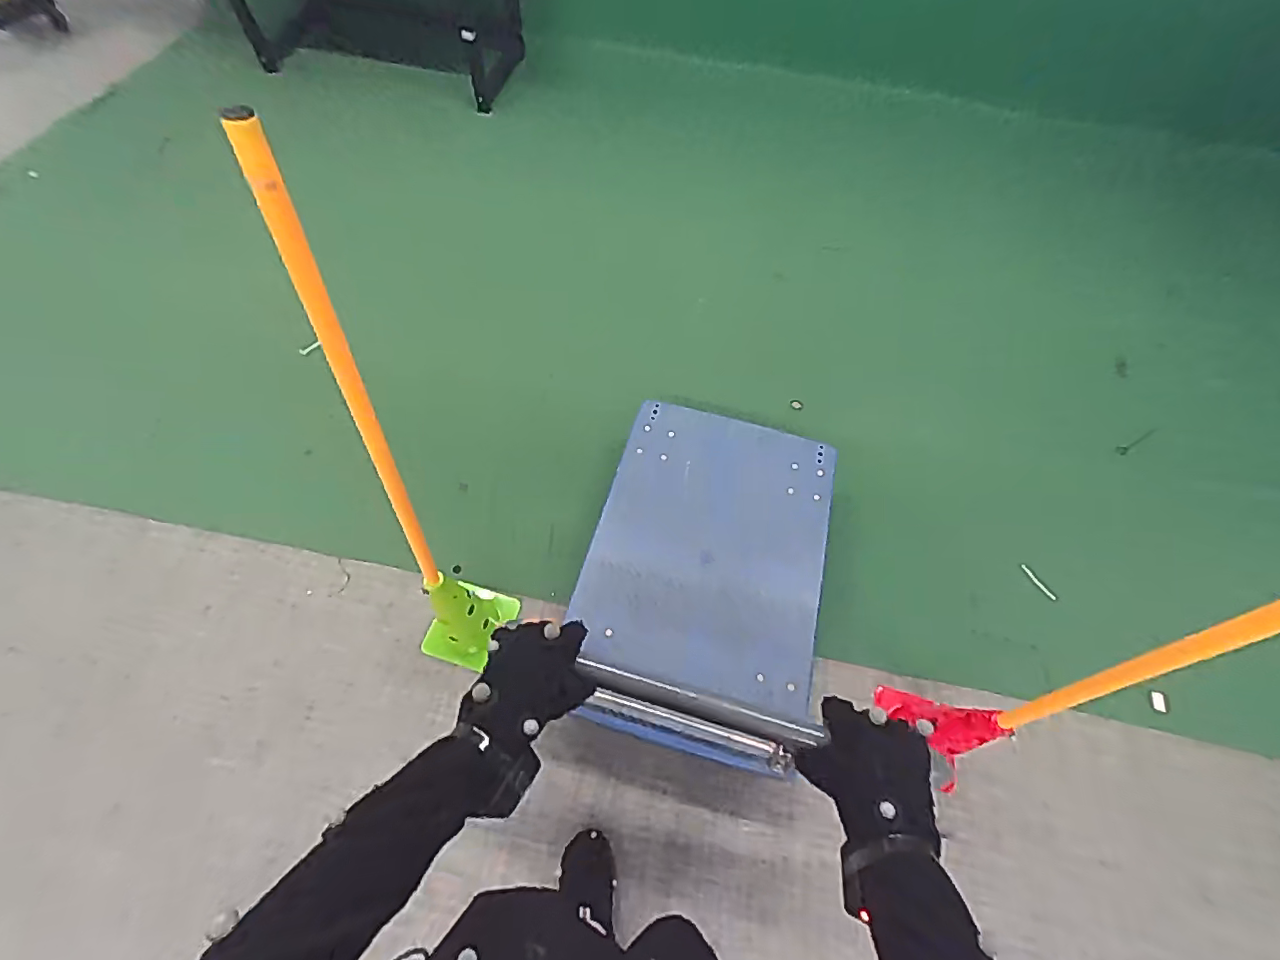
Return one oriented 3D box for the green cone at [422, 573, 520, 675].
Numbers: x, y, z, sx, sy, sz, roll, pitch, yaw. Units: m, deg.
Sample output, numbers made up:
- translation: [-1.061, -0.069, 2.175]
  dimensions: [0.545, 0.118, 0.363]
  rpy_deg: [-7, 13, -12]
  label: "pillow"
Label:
- translation: [-0.429, 0.299, 1.264]
  dimensions: [0.202, 0.368, 0.200]
  rpy_deg: [15, 59, 7]
  label: "green cone"
